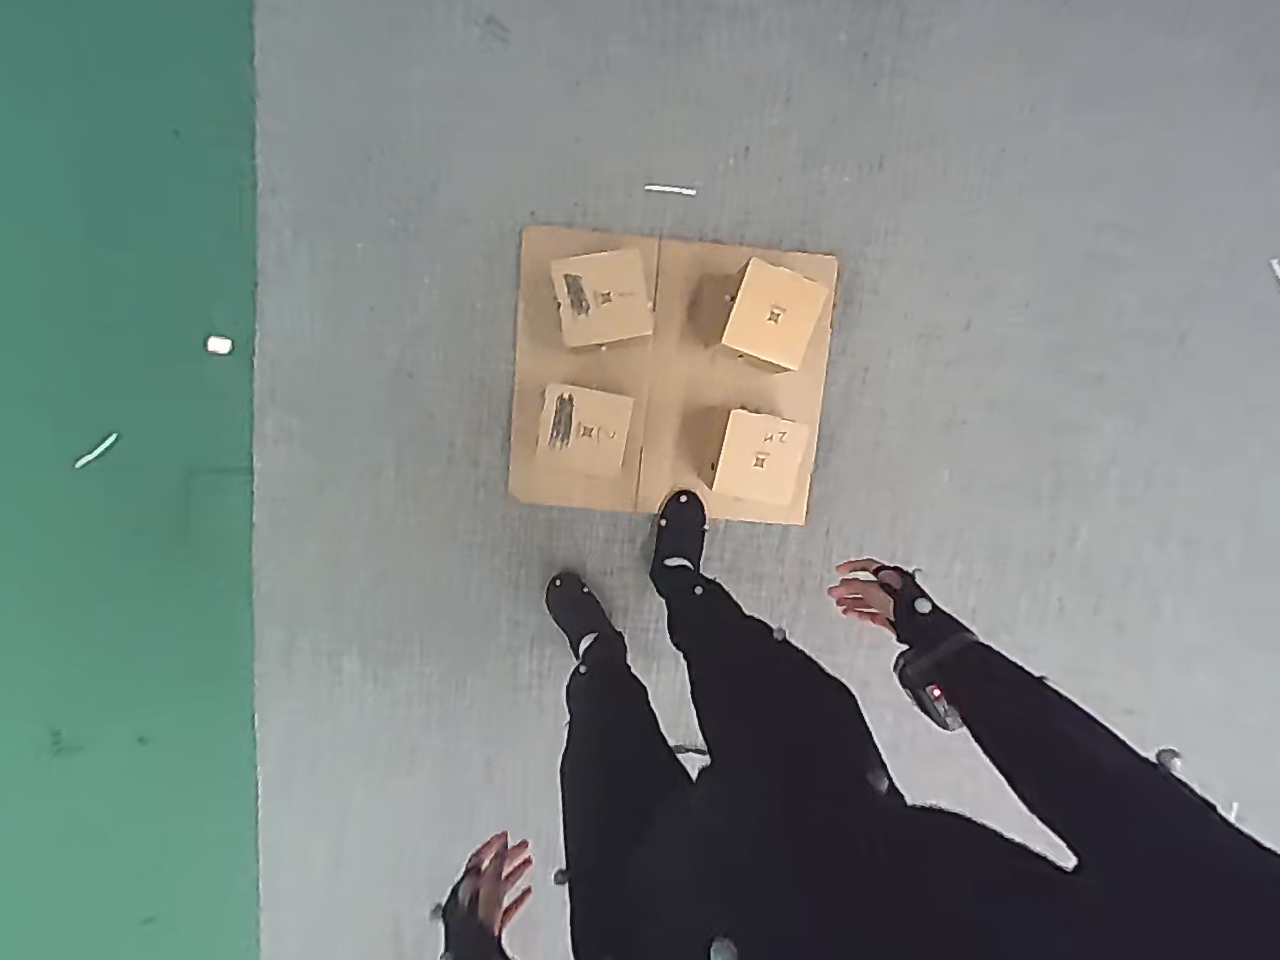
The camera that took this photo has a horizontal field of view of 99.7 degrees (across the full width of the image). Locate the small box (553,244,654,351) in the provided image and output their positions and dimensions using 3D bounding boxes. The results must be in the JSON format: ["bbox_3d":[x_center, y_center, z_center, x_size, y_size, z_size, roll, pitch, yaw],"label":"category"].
[{"bbox_3d":[-0.071,-0.365,1.110,0.179,0.176,0.168,-9,98,-2],"label":"small box"}]

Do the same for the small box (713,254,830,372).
[{"bbox_3d":[0.261,-0.335,1.125,0.168,0.176,0.179,19,96,-5],"label":"small box"}]

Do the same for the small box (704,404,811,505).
[{"bbox_3d":[0.240,-0.060,1.160,0.168,0.176,0.179,12,97,-4],"label":"small box"}]
